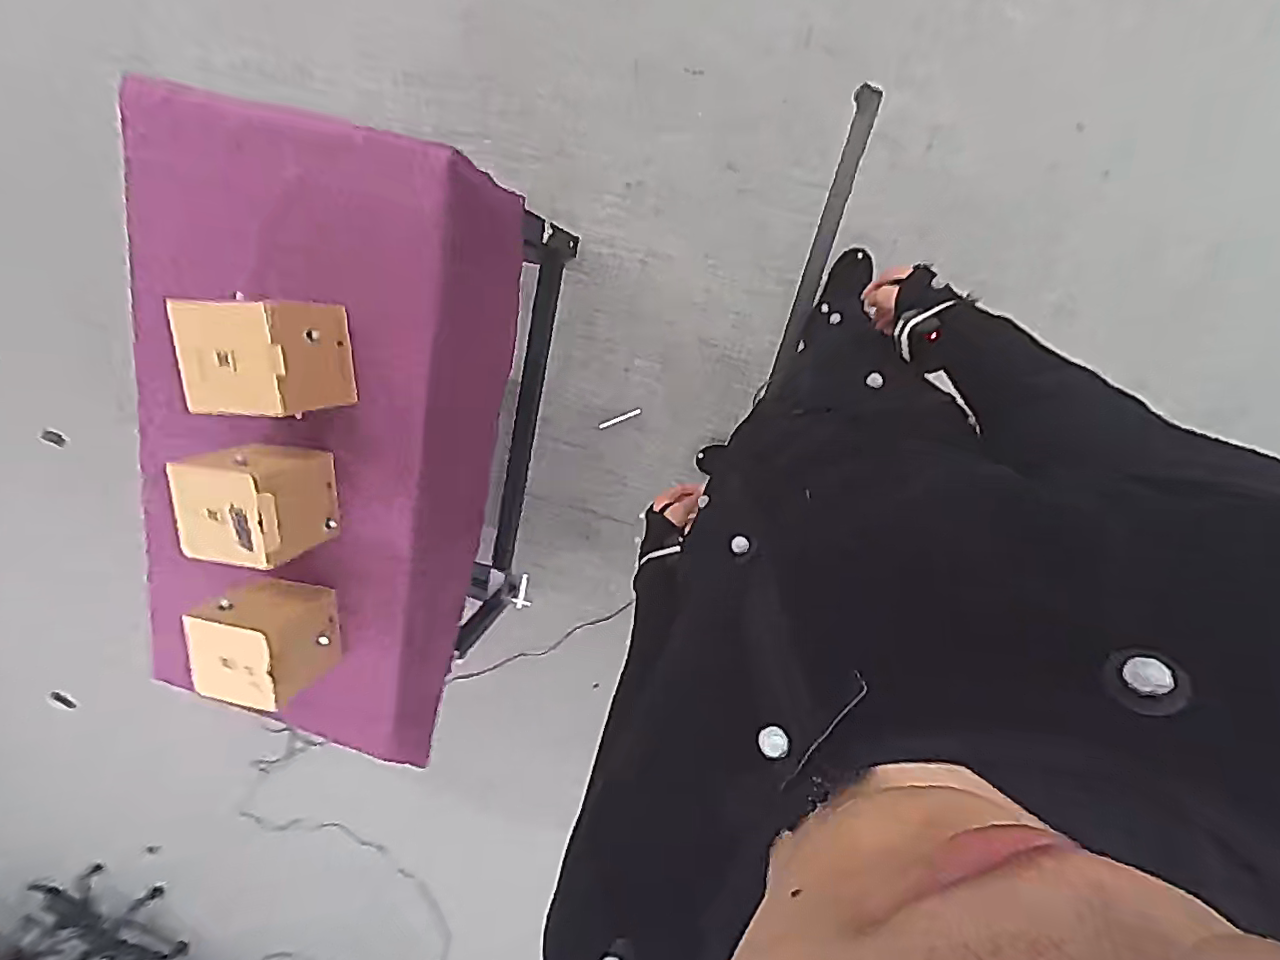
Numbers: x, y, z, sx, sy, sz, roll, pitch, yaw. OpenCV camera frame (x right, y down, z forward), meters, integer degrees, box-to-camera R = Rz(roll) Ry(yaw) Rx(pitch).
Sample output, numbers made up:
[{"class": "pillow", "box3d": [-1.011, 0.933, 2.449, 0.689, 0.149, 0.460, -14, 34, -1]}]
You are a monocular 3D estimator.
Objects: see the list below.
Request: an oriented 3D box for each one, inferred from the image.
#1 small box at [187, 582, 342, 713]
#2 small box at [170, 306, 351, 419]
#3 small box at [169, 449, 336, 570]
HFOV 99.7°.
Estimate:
[{"class": "small box", "box3d": [-0.715, 0.313, 1.047, 0.179, 0.176, 0.168, 7, 106, 9]}, {"class": "small box", "box3d": [-0.605, -0.197, 0.890, 0.179, 0.176, 0.168, 4, 105, 11]}, {"class": "small box", "box3d": [-0.674, 0.044, 0.967, 0.179, 0.176, 0.168, 6, 106, 10]}]
